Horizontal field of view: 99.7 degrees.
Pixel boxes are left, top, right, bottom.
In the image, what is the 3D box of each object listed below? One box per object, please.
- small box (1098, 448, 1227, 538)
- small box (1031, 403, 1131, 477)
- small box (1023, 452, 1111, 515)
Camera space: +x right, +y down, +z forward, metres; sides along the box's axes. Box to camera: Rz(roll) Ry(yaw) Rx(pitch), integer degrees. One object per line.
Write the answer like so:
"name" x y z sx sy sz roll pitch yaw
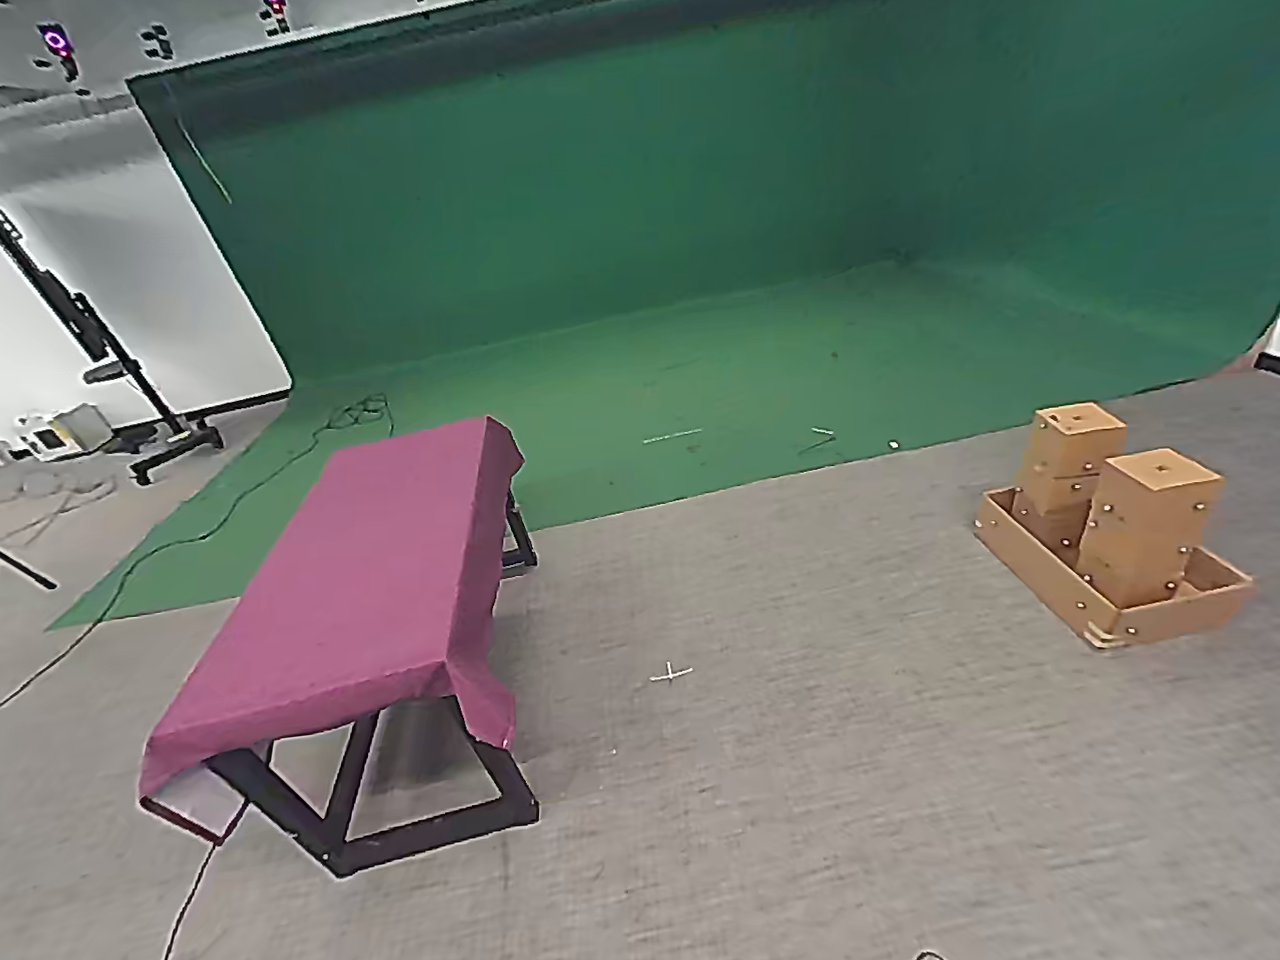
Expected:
"small box" 1.422 0.036 1.487 0.179 0.176 0.168 -11 32 3
"small box" 1.405 -0.128 1.736 0.179 0.176 0.168 -8 33 7
"small box" 1.438 0.003 1.832 0.179 0.176 0.168 -8 34 5
